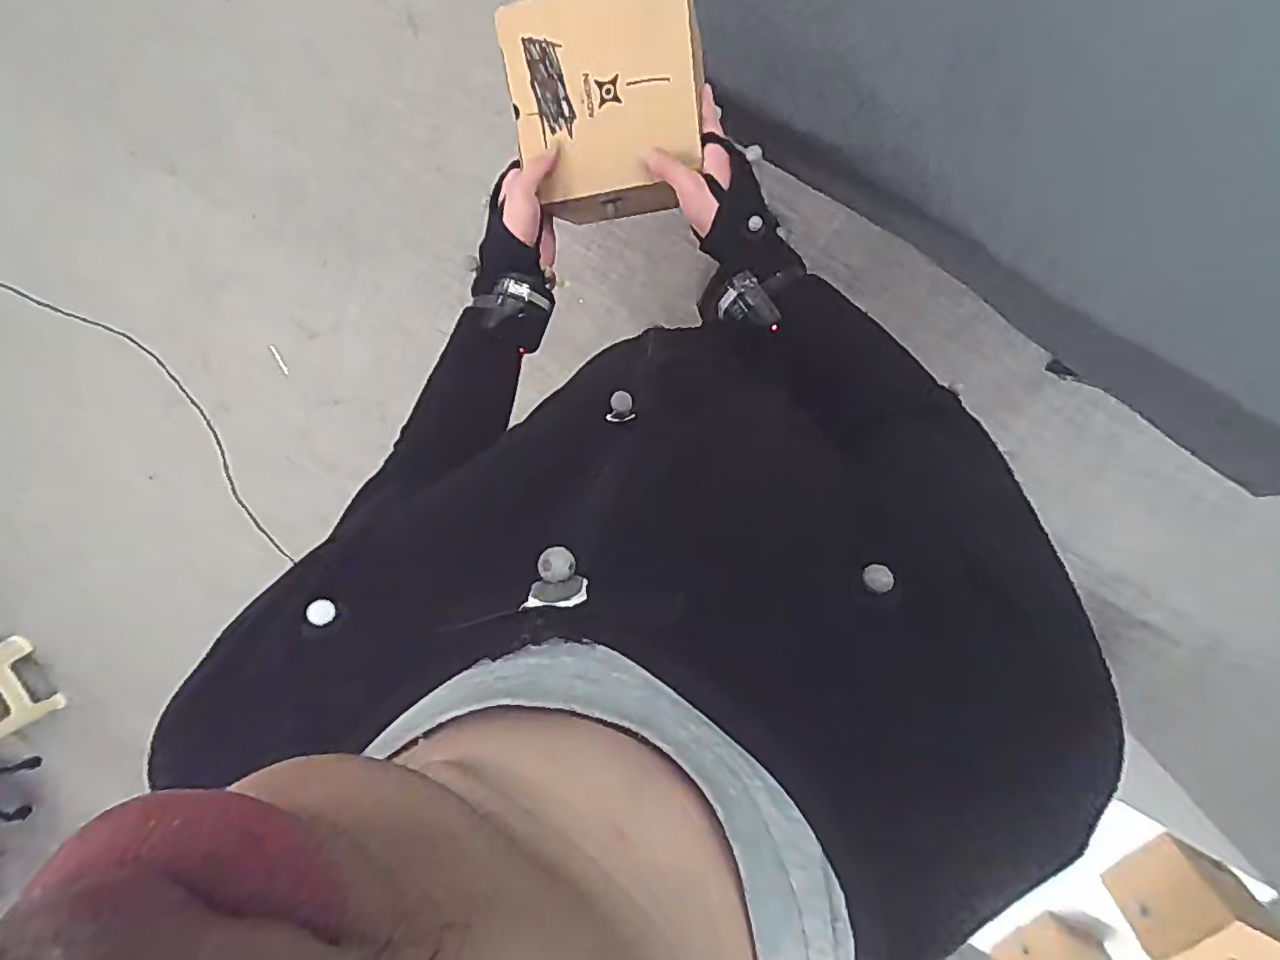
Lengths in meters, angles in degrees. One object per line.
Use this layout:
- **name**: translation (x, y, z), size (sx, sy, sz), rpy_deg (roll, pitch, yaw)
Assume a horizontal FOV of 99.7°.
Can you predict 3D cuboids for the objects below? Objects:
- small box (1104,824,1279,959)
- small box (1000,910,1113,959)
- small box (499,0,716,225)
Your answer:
- **small box**: translation (1.066, 0.822, 1.051), size (0.168, 0.176, 0.179), rpy_deg (27, 109, -6)
- **small box**: translation (0.913, 1.077, 1.150), size (0.168, 0.176, 0.179), rpy_deg (30, 109, -6)
- **small box**: translation (-0.016, -0.368, 0.547), size (0.179, 0.176, 0.168), rpy_deg (-5, 107, 9)
